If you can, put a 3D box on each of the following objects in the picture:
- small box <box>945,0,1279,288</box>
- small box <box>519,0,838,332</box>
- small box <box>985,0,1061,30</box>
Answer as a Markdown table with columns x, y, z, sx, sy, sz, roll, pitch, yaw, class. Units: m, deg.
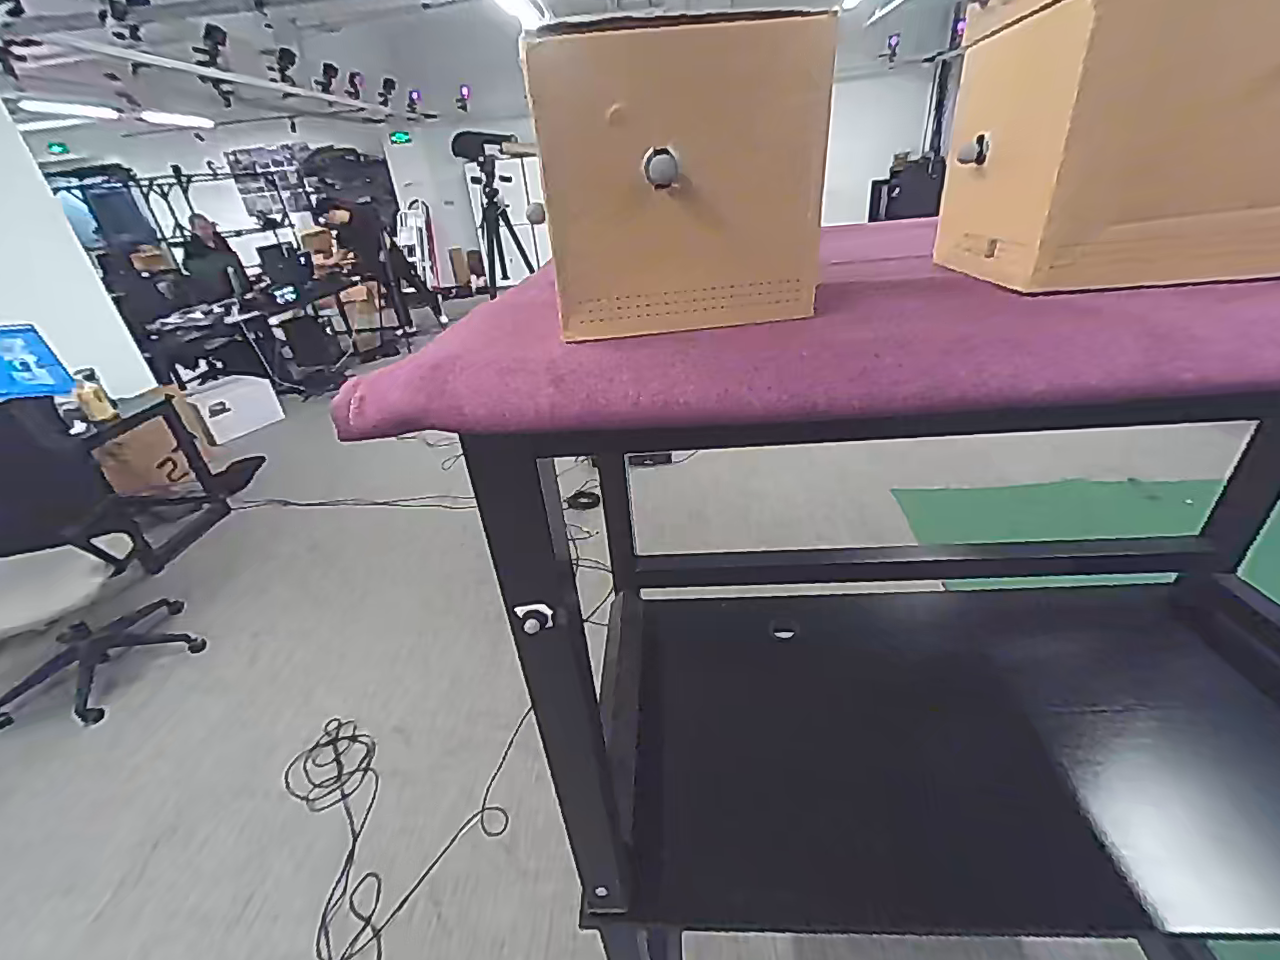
| x | y | z | sx | sy | sz | roll | pitch | yaw | class |
| --- | --- | --- | --- | --- | --- | --- | --- | --- | --- |
| 0.348 | -0.242 | 0.394 | 0.179 | 0.176 | 0.168 | -2 | 29 | 6 | small box |
| 0.021 | -0.213 | 0.392 | 0.179 | 0.176 | 0.168 | -7 | 32 | -3 | small box |
| 0.336 | -0.387 | 0.319 | 0.179 | 0.176 | 0.168 | -1 | 29 | 5 | small box |
